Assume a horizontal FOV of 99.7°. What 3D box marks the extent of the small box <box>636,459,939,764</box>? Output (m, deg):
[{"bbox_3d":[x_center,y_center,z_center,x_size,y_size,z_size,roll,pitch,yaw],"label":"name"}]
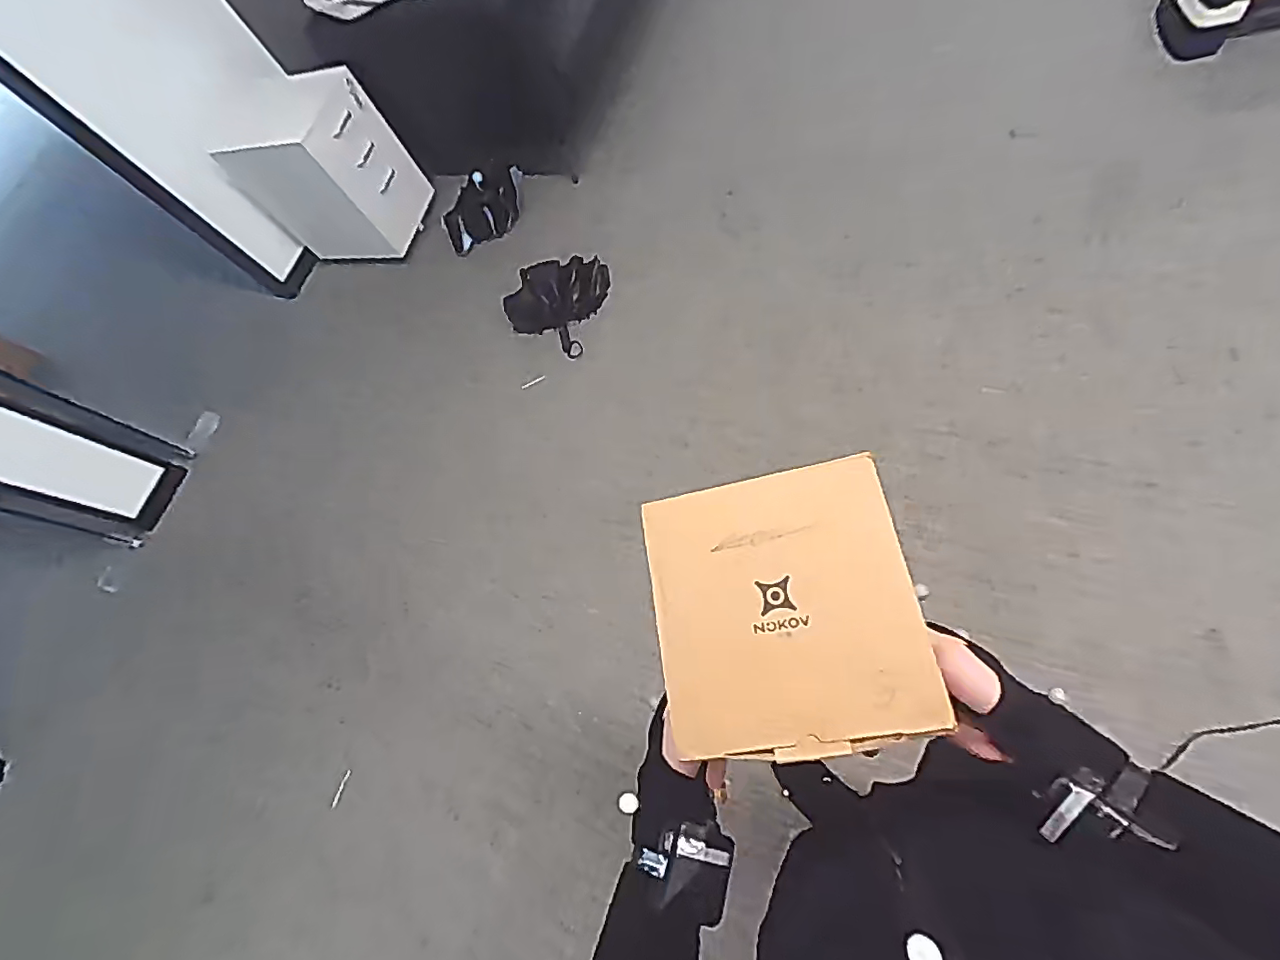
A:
[{"bbox_3d":[0.107,0.108,0.424,0.168,0.176,0.179,-13,66,13],"label":"small box"}]
